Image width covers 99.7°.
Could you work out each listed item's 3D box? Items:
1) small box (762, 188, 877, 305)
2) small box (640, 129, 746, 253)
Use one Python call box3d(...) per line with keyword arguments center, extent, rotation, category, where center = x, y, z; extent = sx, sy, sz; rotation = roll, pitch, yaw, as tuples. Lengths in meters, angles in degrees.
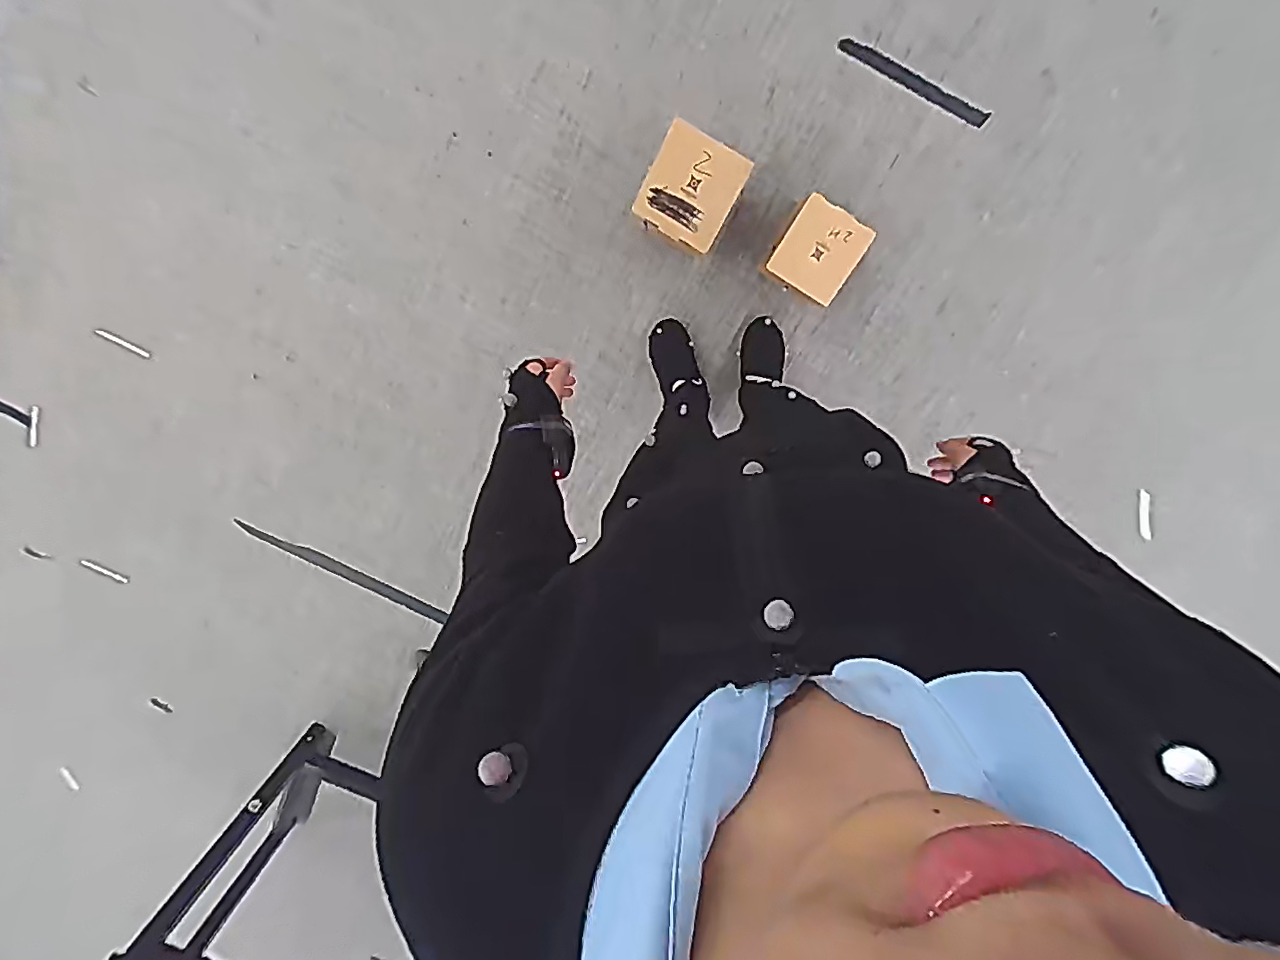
box3d(center=(0.392, -0.518, 1.220), extent=(0.168, 0.176, 0.179), rotation=(30, 109, -7), category="small box")
box3d(center=(0.114, -0.631, 1.205), extent=(0.168, 0.176, 0.179), rotation=(29, 110, -6), category="small box")
